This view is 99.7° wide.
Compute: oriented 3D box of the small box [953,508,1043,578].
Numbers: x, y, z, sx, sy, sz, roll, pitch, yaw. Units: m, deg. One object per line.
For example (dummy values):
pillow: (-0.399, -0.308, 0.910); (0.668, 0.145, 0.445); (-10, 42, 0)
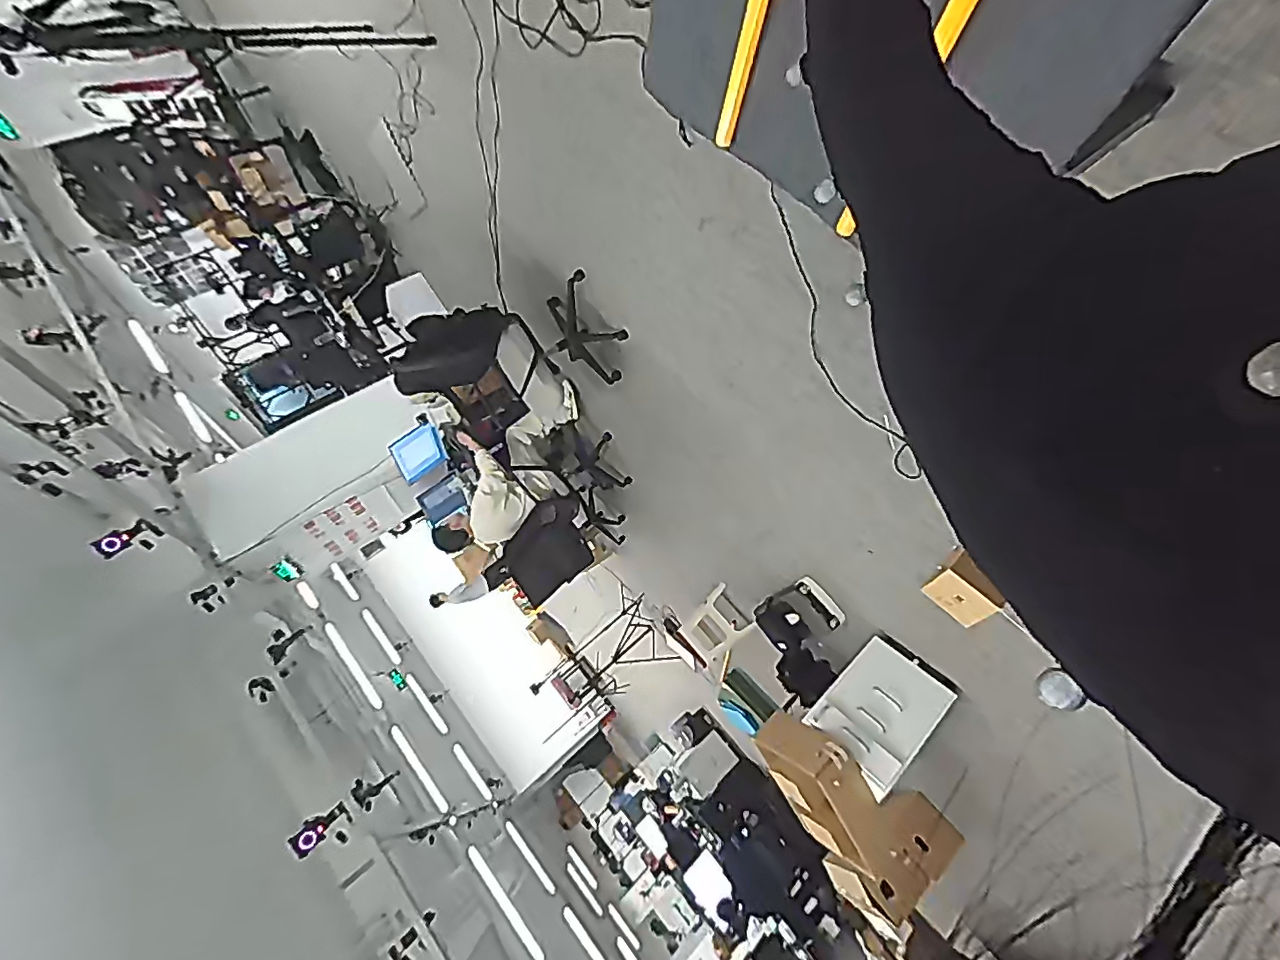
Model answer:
small box: (1.125, 0.220, 1.707); (0.168, 0.176, 0.179); (44, 155, 19)

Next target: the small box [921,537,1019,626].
small box: (1.002, 0.304, 1.635); (0.168, 0.176, 0.179); (43, 155, 21)
